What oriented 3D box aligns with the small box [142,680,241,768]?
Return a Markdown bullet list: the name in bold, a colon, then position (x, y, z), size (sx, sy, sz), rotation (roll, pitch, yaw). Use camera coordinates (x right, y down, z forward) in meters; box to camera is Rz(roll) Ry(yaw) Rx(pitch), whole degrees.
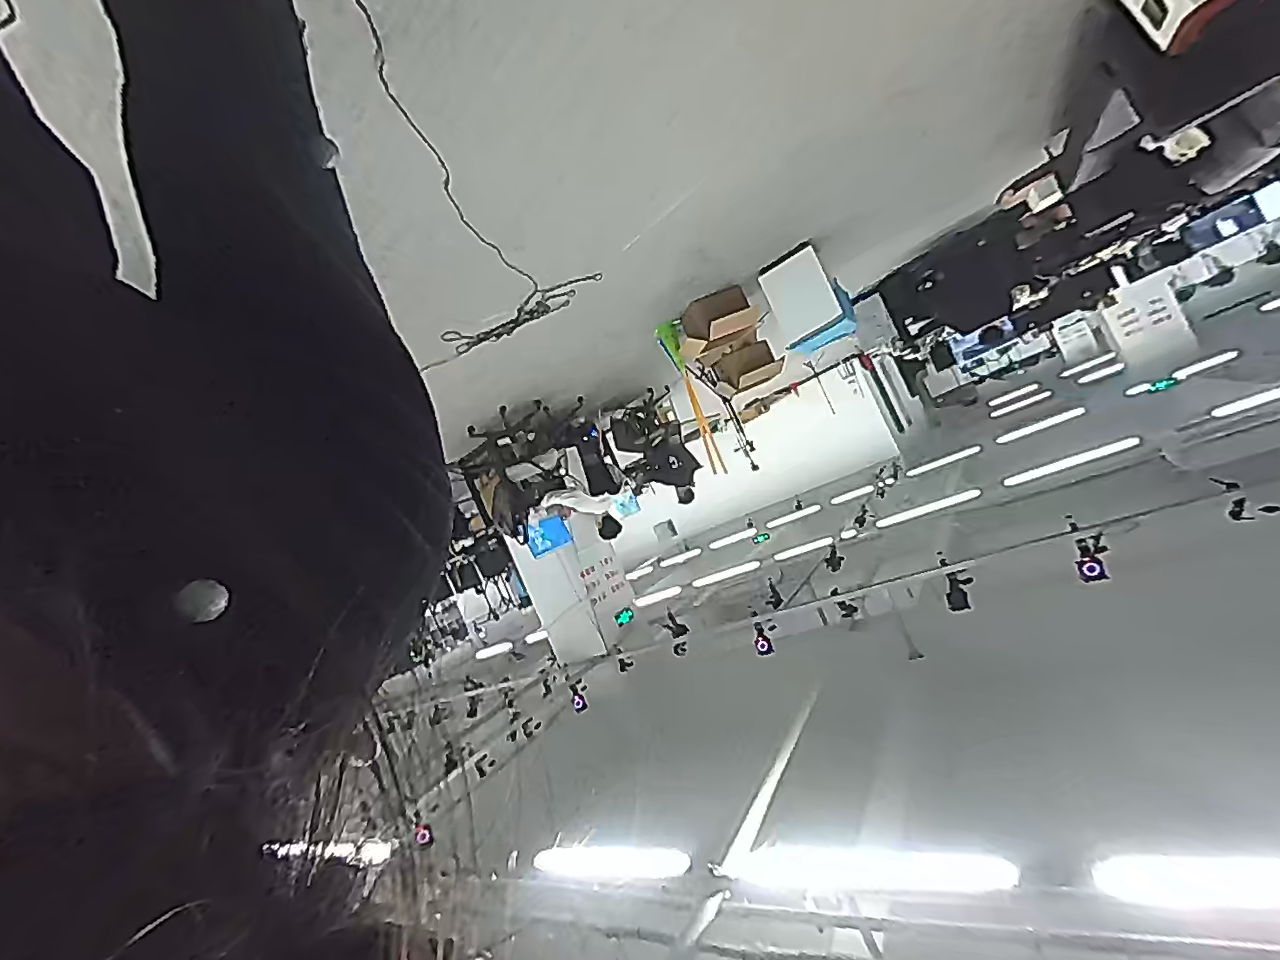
- **small box**: position (-1.383, 0.746, 1.663), size (0.168, 0.176, 0.179), rotation (-27, 176, 31)
